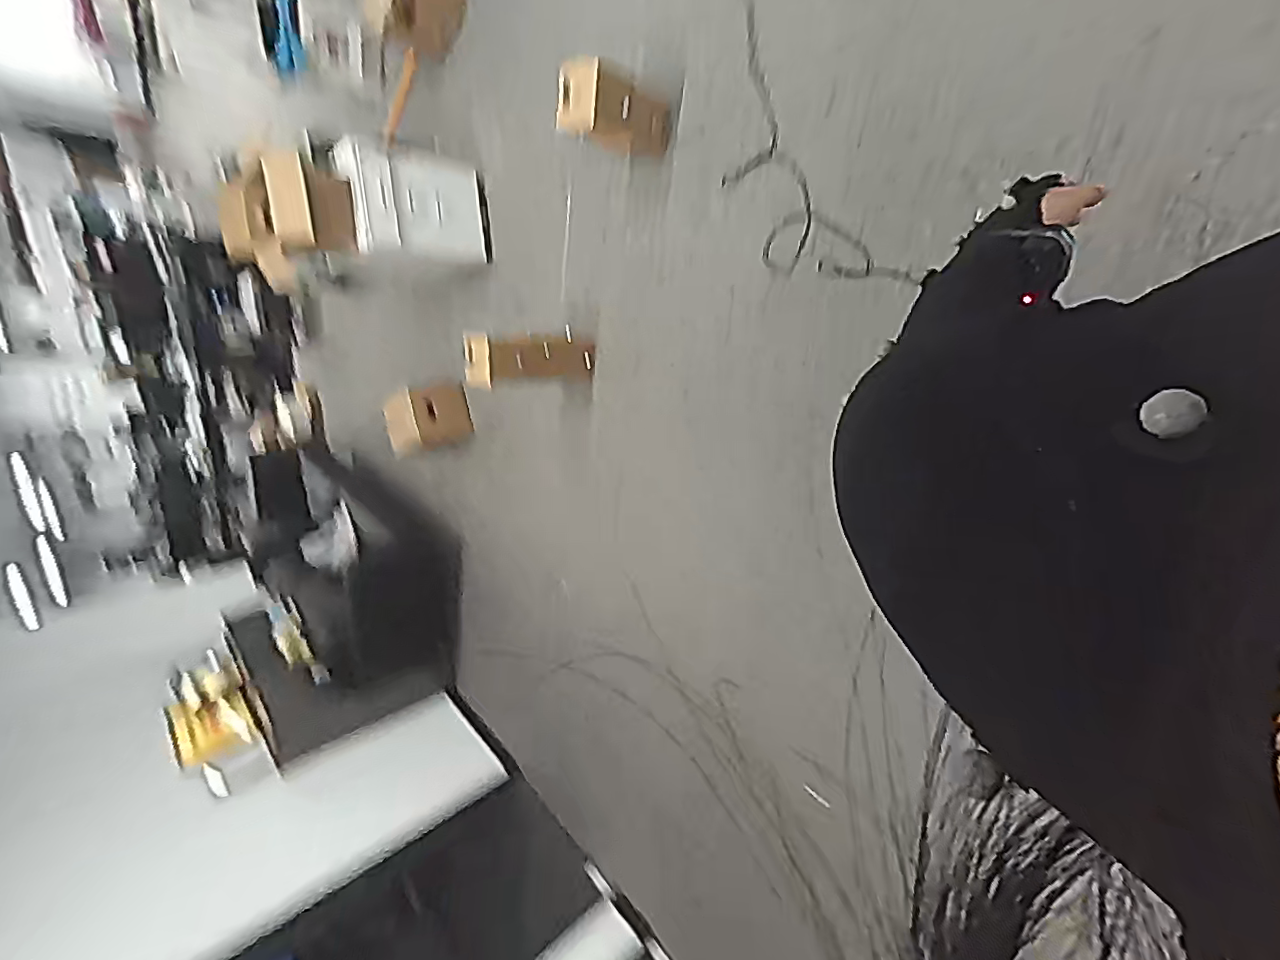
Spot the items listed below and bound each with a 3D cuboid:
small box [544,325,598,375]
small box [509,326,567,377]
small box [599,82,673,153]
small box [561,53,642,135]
[{"bbox_3d":[-0.294,-0.548,2.266,0.168,0.176,0.179,26,118,40],"label":"small box"},{"bbox_3d":[-0.402,-0.516,2.147,0.168,0.176,0.179,23,118,42],"label":"small box"},{"bbox_3d":[-0.012,-1.200,1.795,0.179,0.176,0.168,25,117,39],"label":"small box"},{"bbox_3d":[-0.121,-1.184,1.672,0.179,0.176,0.168,25,118,37],"label":"small box"}]
